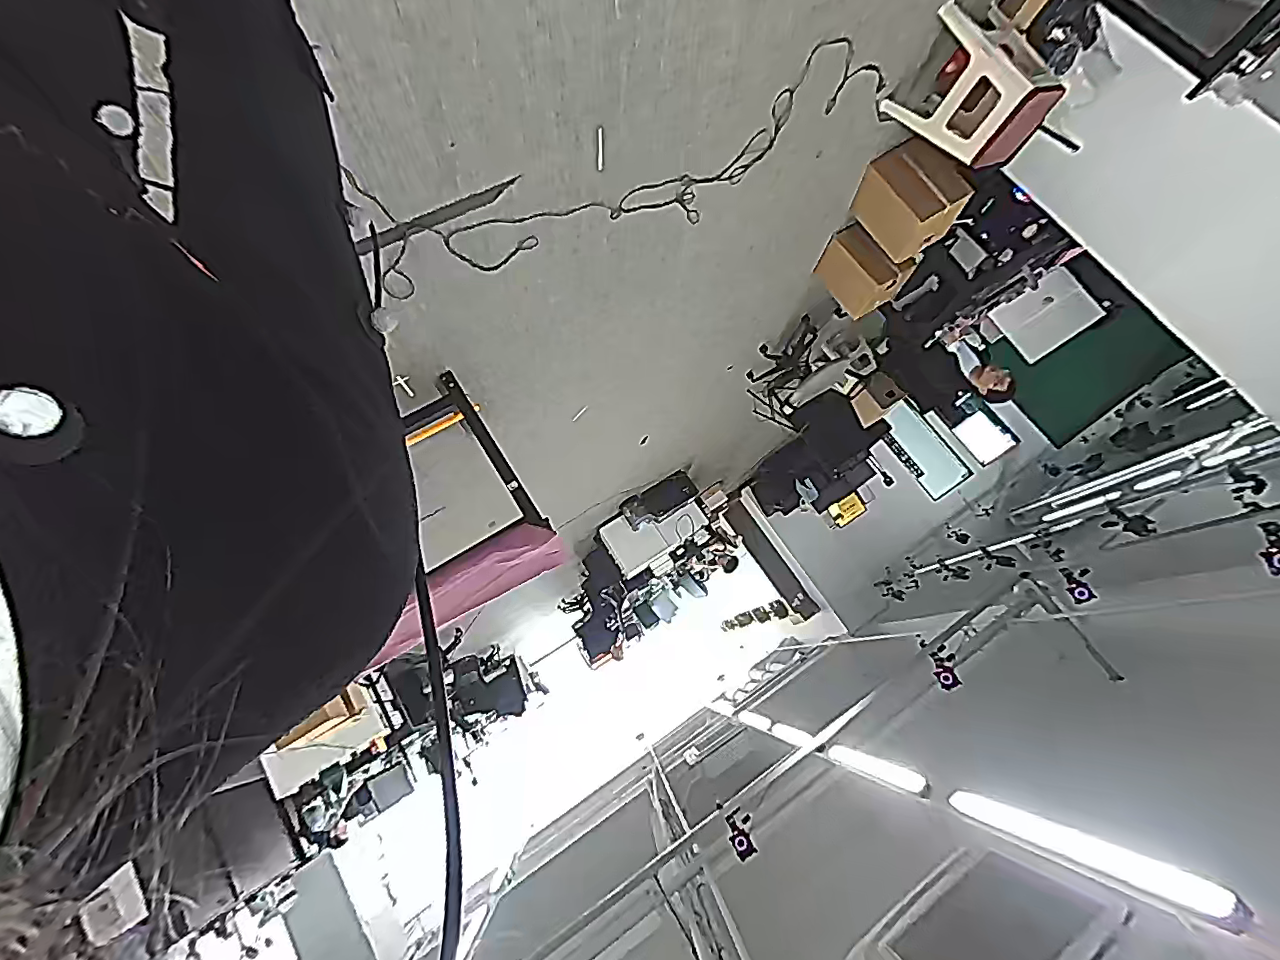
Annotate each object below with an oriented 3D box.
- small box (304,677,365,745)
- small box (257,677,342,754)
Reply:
[{"bbox_3d":[-1.175,0.862,2.028,0.179,0.176,0.168,-28,163,-19],"label":"small box"},{"bbox_3d":[-1.162,0.795,1.839,0.179,0.176,0.168,-31,167,-16],"label":"small box"}]
